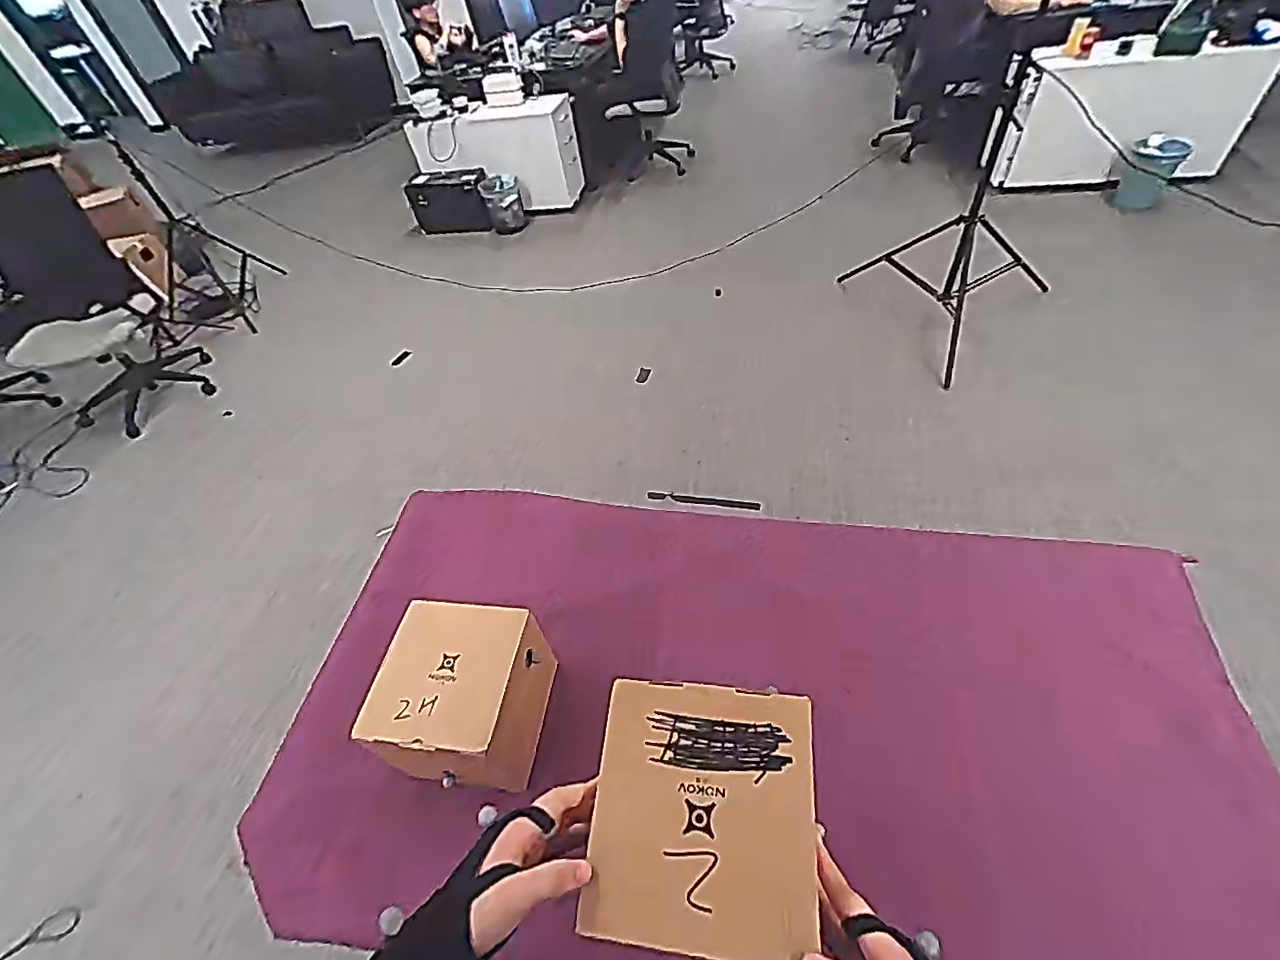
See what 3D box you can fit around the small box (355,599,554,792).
[{"bbox_3d":[-0.218,0.277,0.697,0.168,0.176,0.179,2,49,10],"label":"small box"}]
